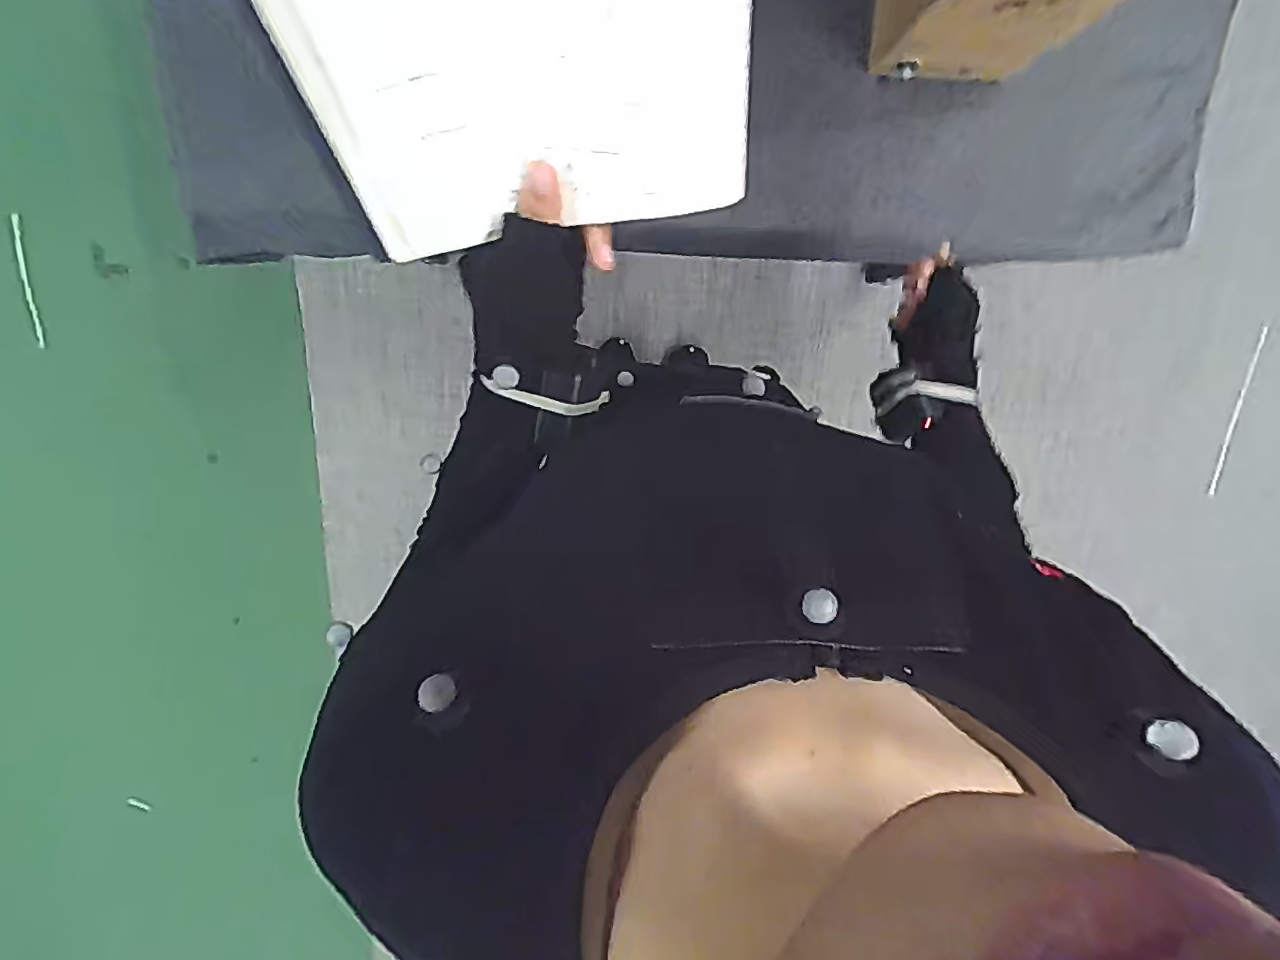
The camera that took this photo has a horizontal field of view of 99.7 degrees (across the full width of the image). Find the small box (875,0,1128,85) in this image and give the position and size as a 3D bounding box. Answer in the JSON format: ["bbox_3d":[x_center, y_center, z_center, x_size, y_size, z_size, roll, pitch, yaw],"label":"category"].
[{"bbox_3d":[0.351,-0.521,0.528,0.168,0.176,0.179,1,104,-2],"label":"small box"}]
